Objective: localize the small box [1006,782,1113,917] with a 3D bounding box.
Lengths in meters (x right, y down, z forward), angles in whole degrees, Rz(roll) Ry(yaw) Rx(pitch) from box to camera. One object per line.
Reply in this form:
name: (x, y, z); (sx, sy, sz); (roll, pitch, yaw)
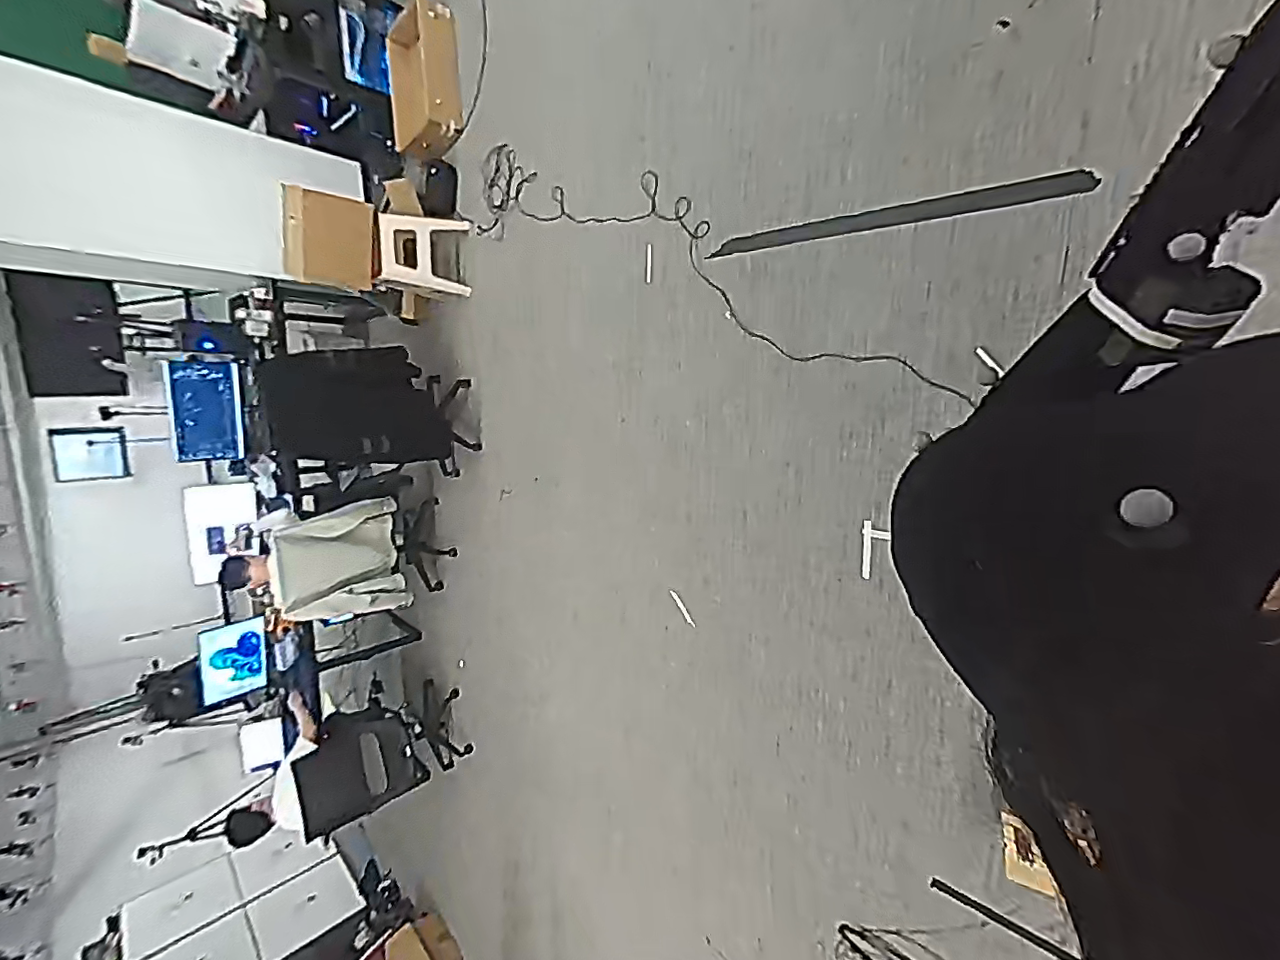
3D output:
small box: (0.970, 0.835, 1.248); (0.179, 0.176, 0.168); (-2, 95, 44)
